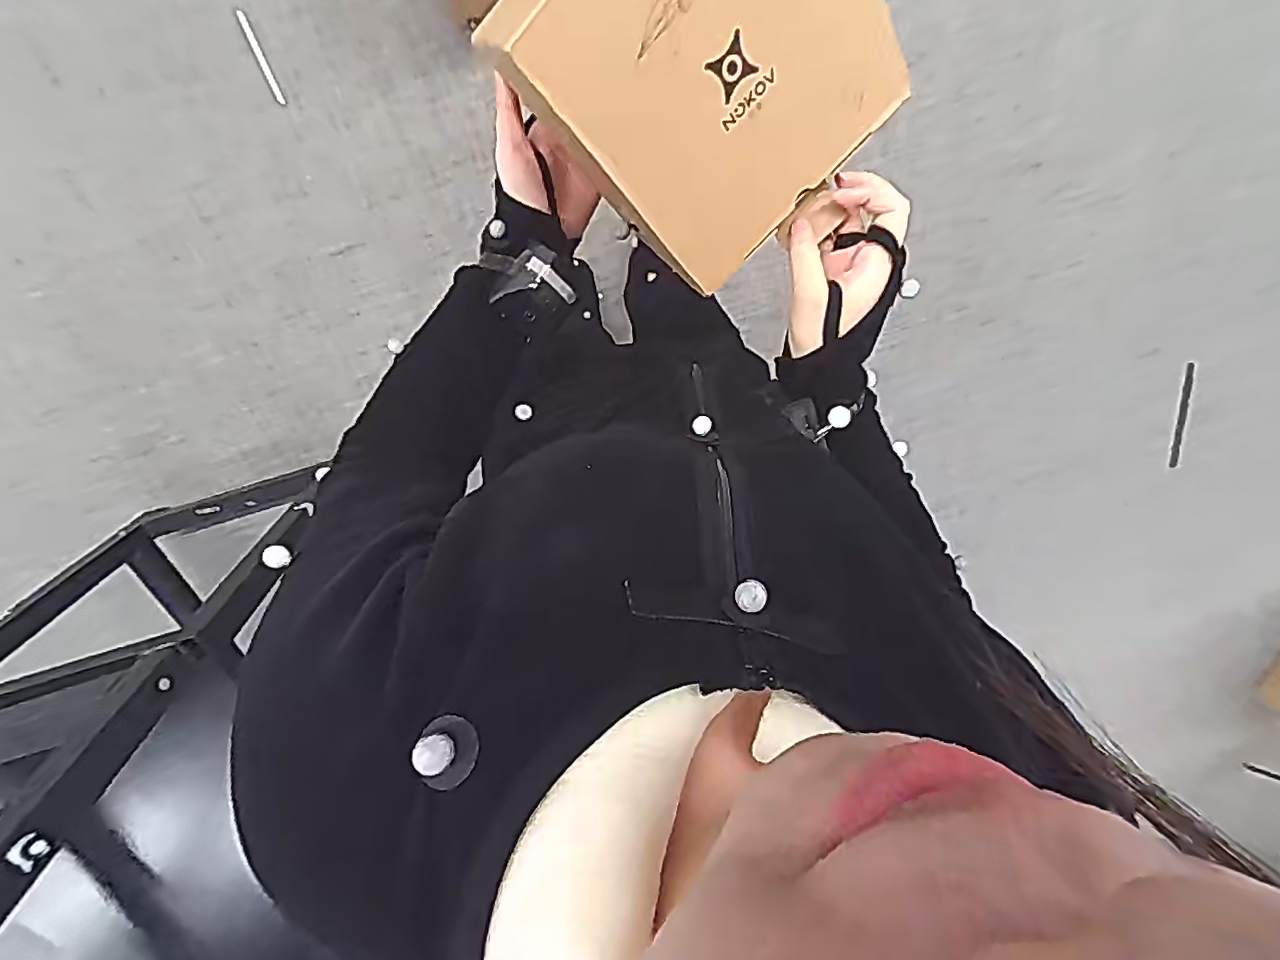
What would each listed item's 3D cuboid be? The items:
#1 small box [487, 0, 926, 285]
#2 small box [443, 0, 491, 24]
[{"bbox_3d":[0.030,-0.264,0.333,0.168,0.176,0.179,-42,132,13],"label":"small box"},{"bbox_3d":[-0.293,-0.957,0.969,0.168,0.176,0.179,-16,116,-3],"label":"small box"}]
